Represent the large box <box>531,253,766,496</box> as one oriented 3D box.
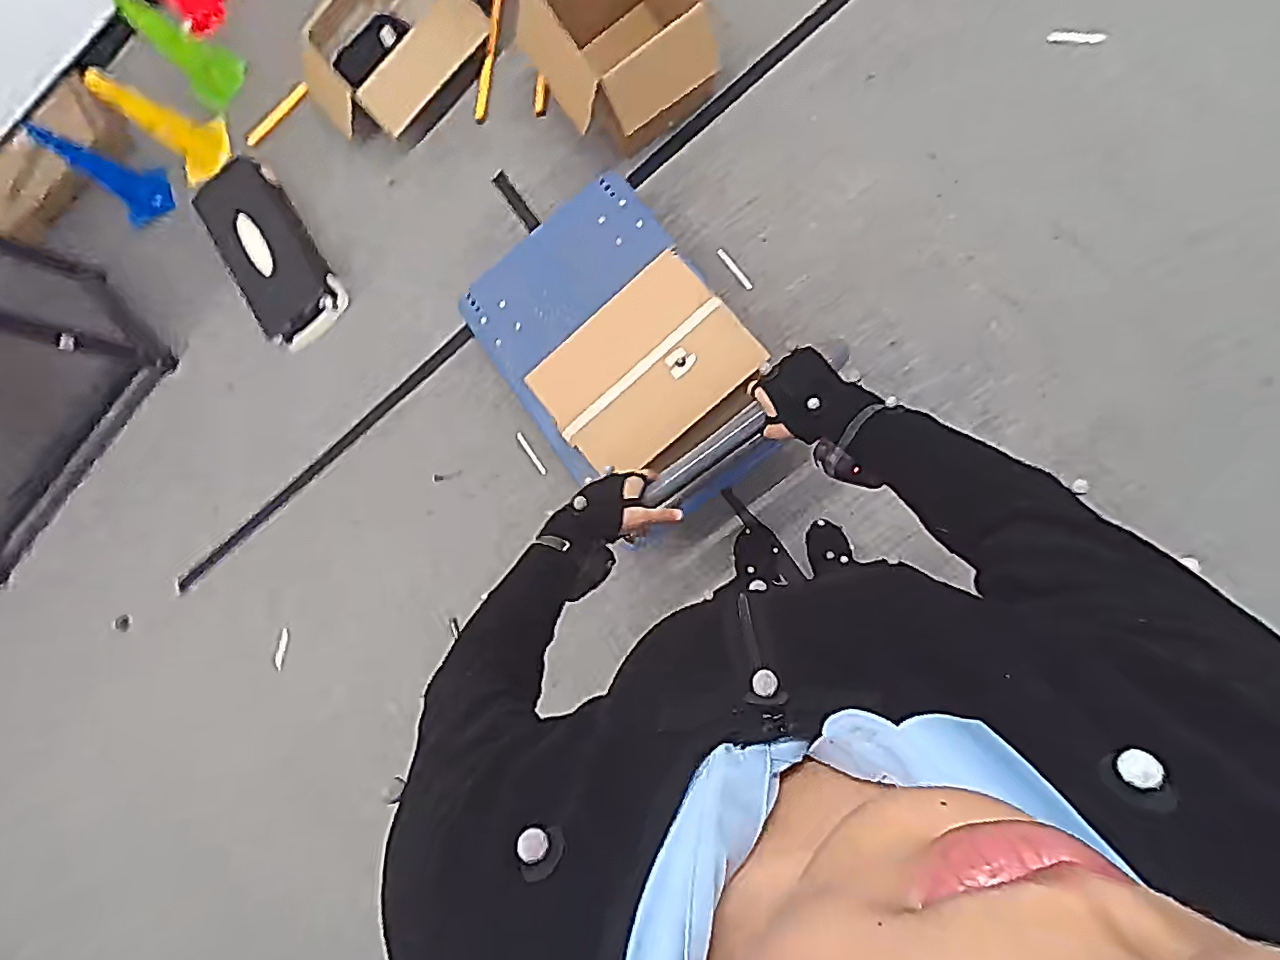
[{"bbox_3d":[0.035,-0.211,1.242,0.408,0.320,0.320,-41,80,6],"label":"large box"}]
